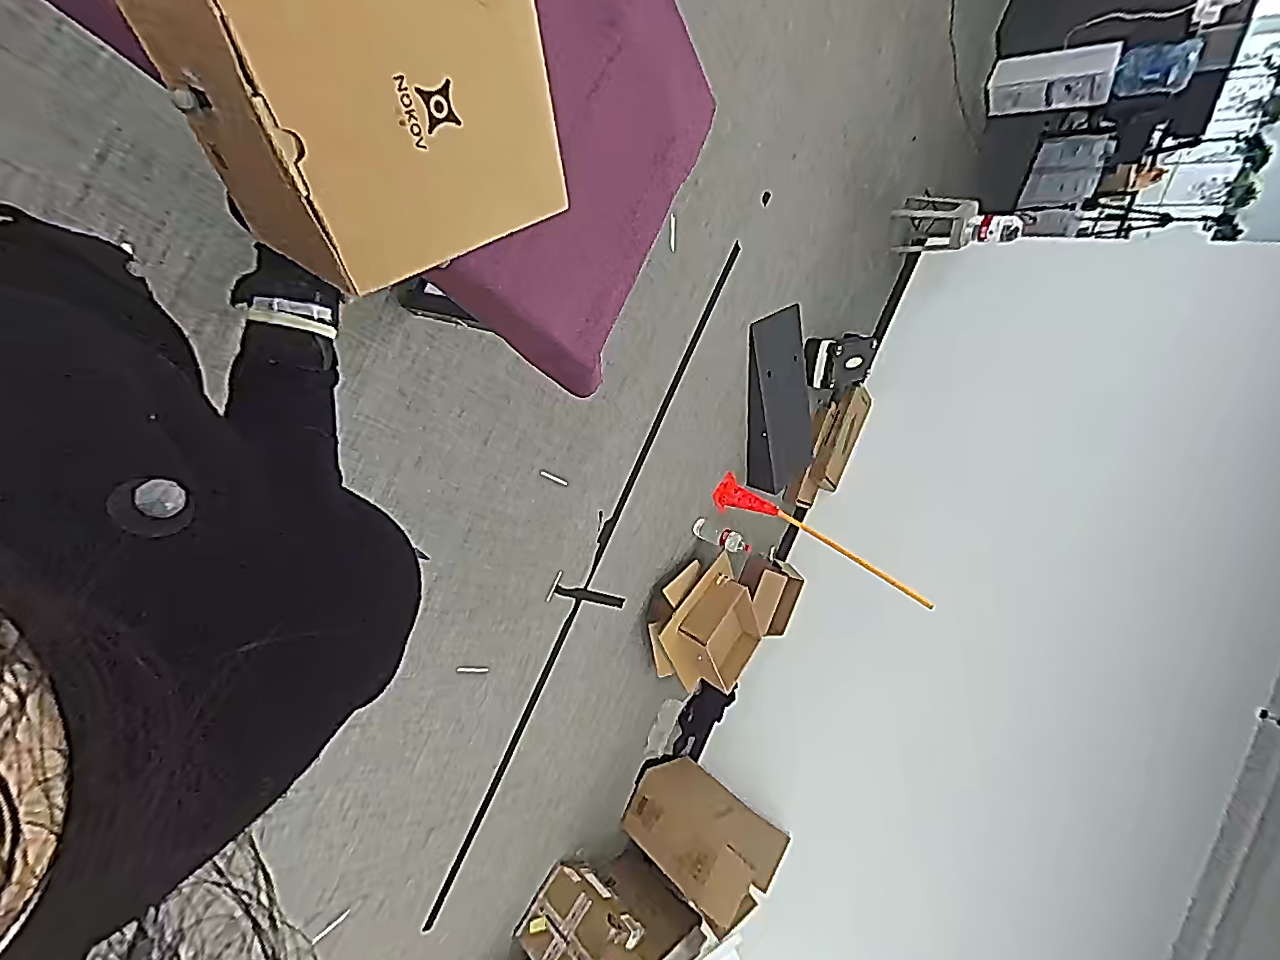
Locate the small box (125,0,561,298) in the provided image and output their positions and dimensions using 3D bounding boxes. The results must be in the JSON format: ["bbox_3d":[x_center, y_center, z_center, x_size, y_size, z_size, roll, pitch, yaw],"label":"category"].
[{"bbox_3d":[-0.183,-0.254,0.362,0.179,0.176,0.168,-39,145,-28],"label":"small box"}]
